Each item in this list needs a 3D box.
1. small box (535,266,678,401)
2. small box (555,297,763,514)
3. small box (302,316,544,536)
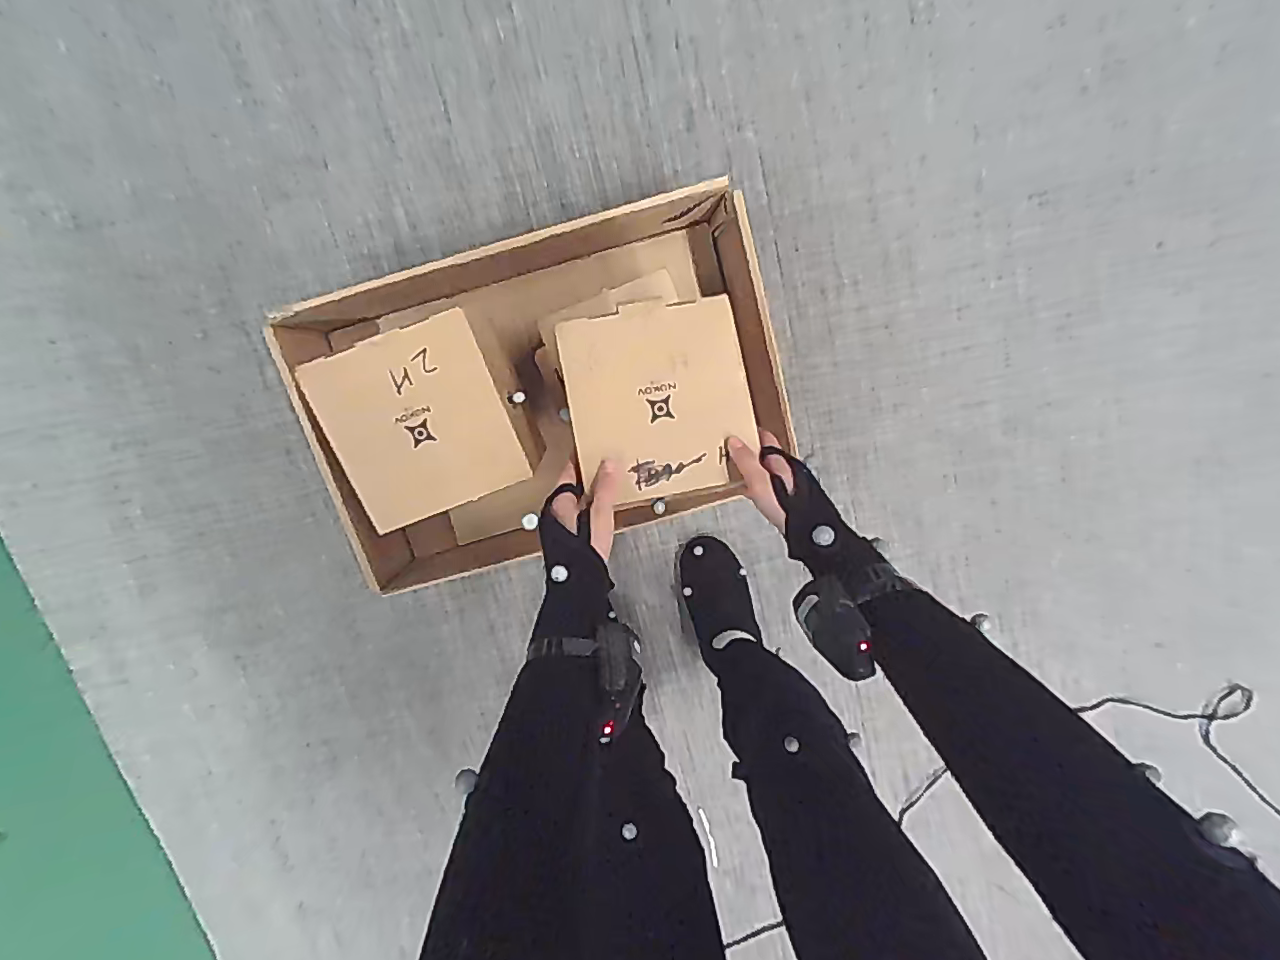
[{"bbox_3d":[-0.022,-0.171,0.751,0.179,0.176,0.168,-23,102,3],"label":"small box"},{"bbox_3d":[0.013,-0.065,0.571,0.168,0.176,0.179,-12,86,-2],"label":"small box"},{"bbox_3d":[-0.217,-0.067,0.601,0.168,0.176,0.179,-22,104,0],"label":"small box"}]
